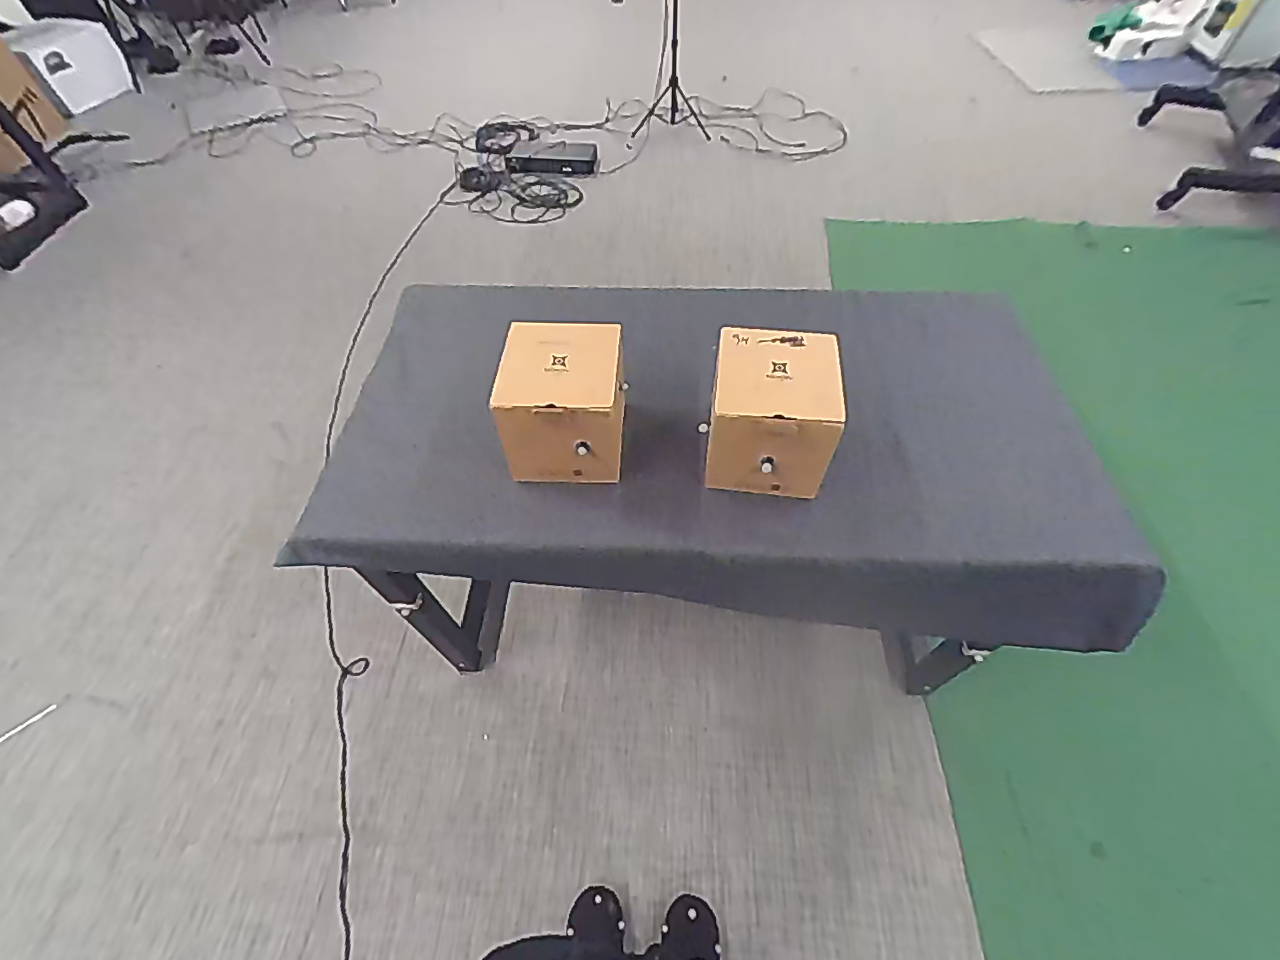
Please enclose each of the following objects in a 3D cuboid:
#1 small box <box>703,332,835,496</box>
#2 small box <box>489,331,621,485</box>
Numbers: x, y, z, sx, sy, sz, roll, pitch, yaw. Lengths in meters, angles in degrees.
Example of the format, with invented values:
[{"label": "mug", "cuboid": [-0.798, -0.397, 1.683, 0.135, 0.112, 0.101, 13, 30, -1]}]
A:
[{"label": "small box", "cuboid": [0.184, -0.094, 0.804, 0.168, 0.176, 0.179, 5, 55, 6]}, {"label": "small box", "cuboid": [-0.117, -0.106, 0.827, 0.168, 0.176, 0.179, 1, 52, 1]}]
